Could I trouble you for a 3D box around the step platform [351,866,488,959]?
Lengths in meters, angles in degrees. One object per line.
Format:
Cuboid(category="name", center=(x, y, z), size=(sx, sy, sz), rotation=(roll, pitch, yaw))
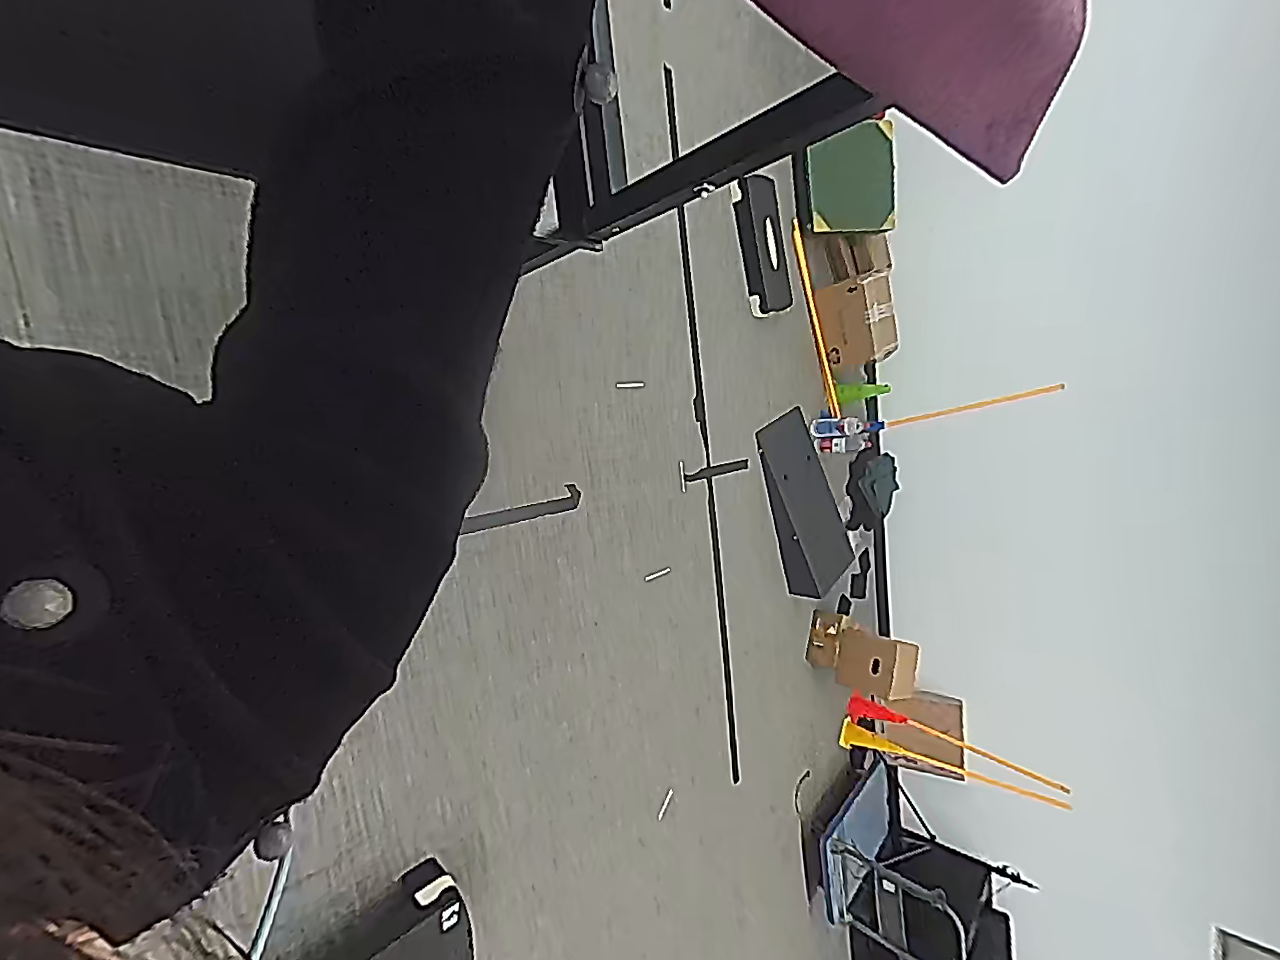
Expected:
Cuboid(category="step platform", center=(-0.714, 1.292, 1.325), size=(0.684, 0.204, 0.286), rotation=(-4, 93, -46))
